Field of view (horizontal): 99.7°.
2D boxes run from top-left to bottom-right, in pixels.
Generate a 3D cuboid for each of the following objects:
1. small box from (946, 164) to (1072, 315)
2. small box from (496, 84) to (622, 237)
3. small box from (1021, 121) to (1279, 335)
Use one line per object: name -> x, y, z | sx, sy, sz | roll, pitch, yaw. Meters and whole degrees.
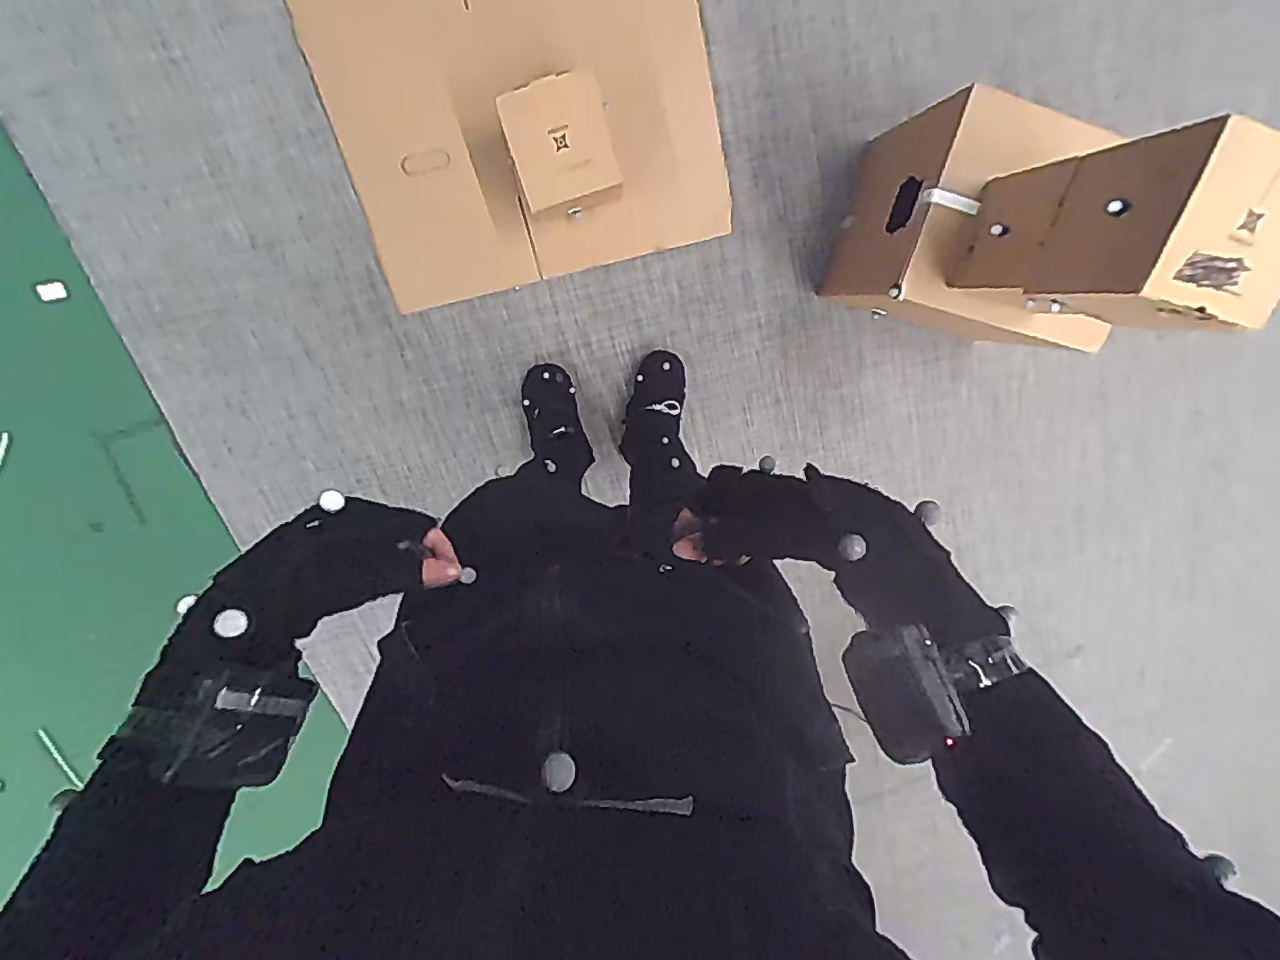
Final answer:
small box -> 0.602, -0.343, 0.806 | 0.179, 0.176, 0.168 | 7, 105, -9
small box -> -0.137, -0.557, 0.969 | 0.168, 0.176, 0.179 | -18, 109, 4
small box -> 0.610, -0.285, 0.650 | 0.168, 0.176, 0.179 | 12, 105, -10
